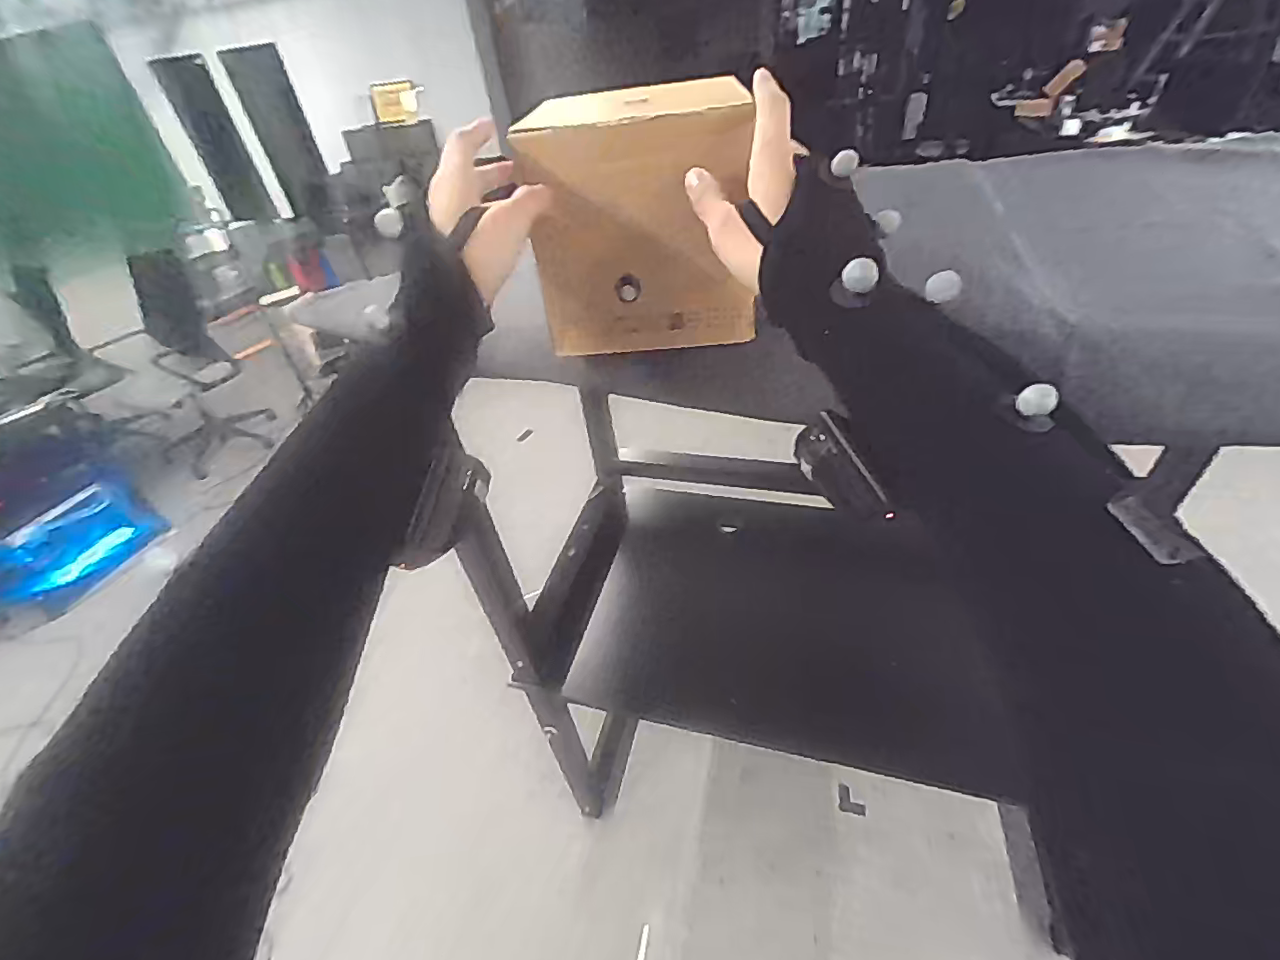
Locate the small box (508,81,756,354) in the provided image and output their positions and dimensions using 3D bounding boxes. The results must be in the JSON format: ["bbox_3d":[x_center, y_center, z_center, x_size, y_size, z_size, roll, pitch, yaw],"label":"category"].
[{"bbox_3d":[0.004,-0.224,0.464,0.168,0.176,0.179,-3,41,6],"label":"small box"}]
